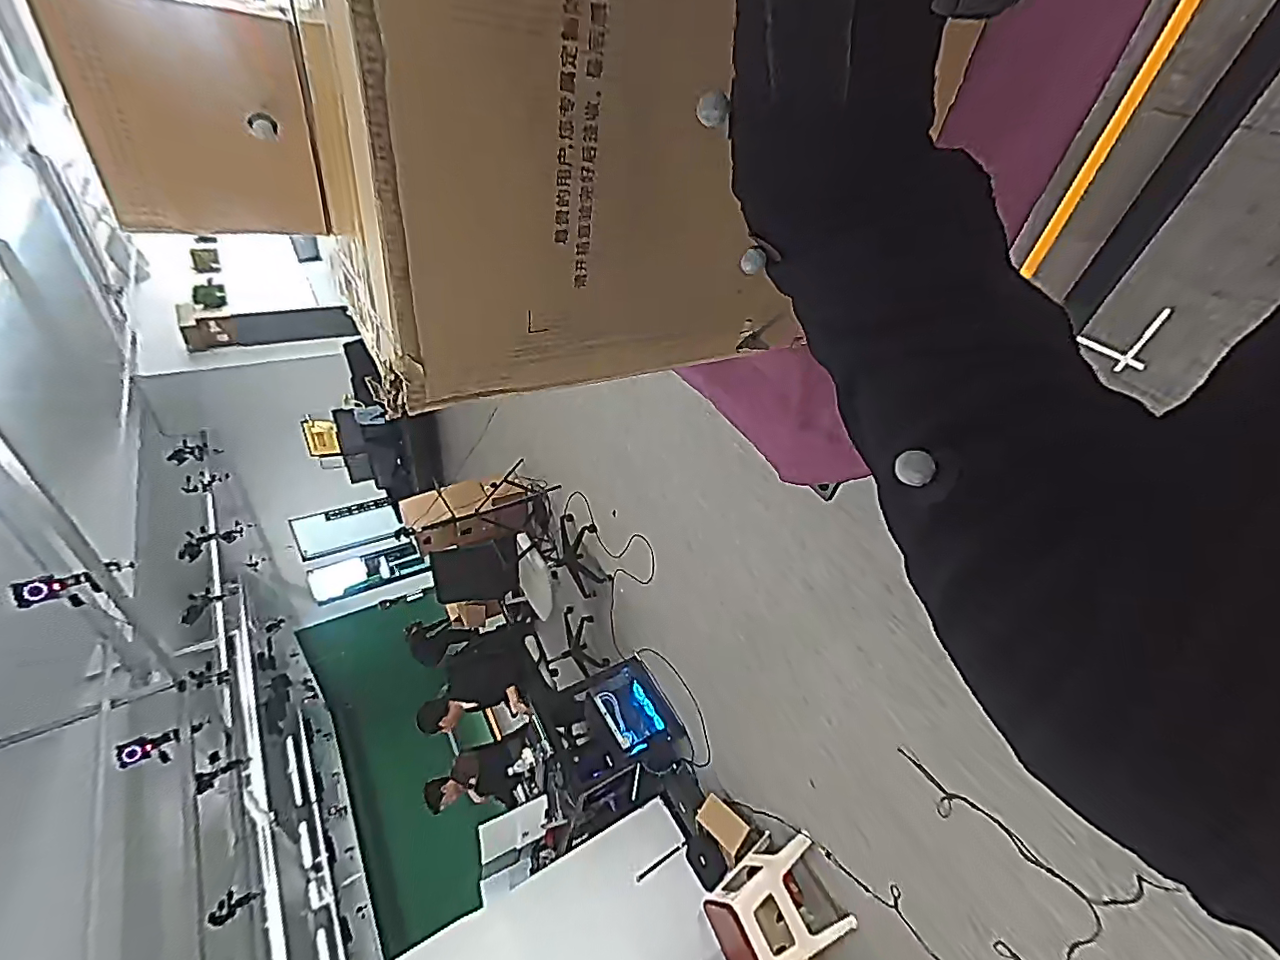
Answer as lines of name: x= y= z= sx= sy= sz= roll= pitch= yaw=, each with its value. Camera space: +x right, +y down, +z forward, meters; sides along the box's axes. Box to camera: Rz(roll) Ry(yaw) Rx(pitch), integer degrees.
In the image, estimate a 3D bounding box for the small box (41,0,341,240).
small box: x=-0.407 y=-0.347 z=0.518 sx=0.168 sy=0.176 sz=0.179 roll=50 pitch=142 yaw=37
